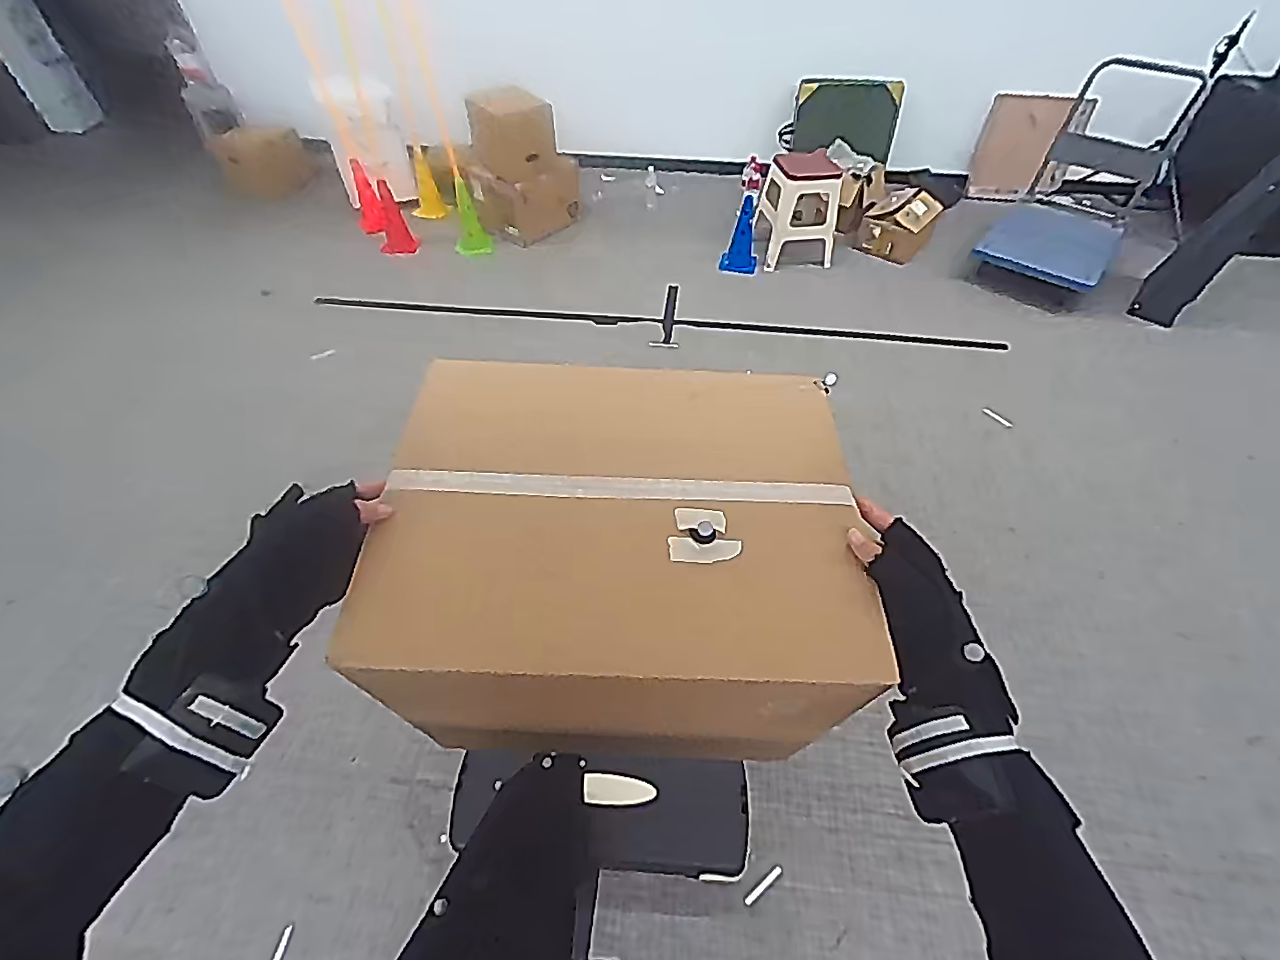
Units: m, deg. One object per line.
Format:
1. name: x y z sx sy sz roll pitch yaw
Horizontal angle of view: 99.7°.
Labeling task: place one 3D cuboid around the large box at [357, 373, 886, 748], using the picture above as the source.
1. large box: -0.018 0.103 0.606 0.408 0.320 0.320 2 54 -2
